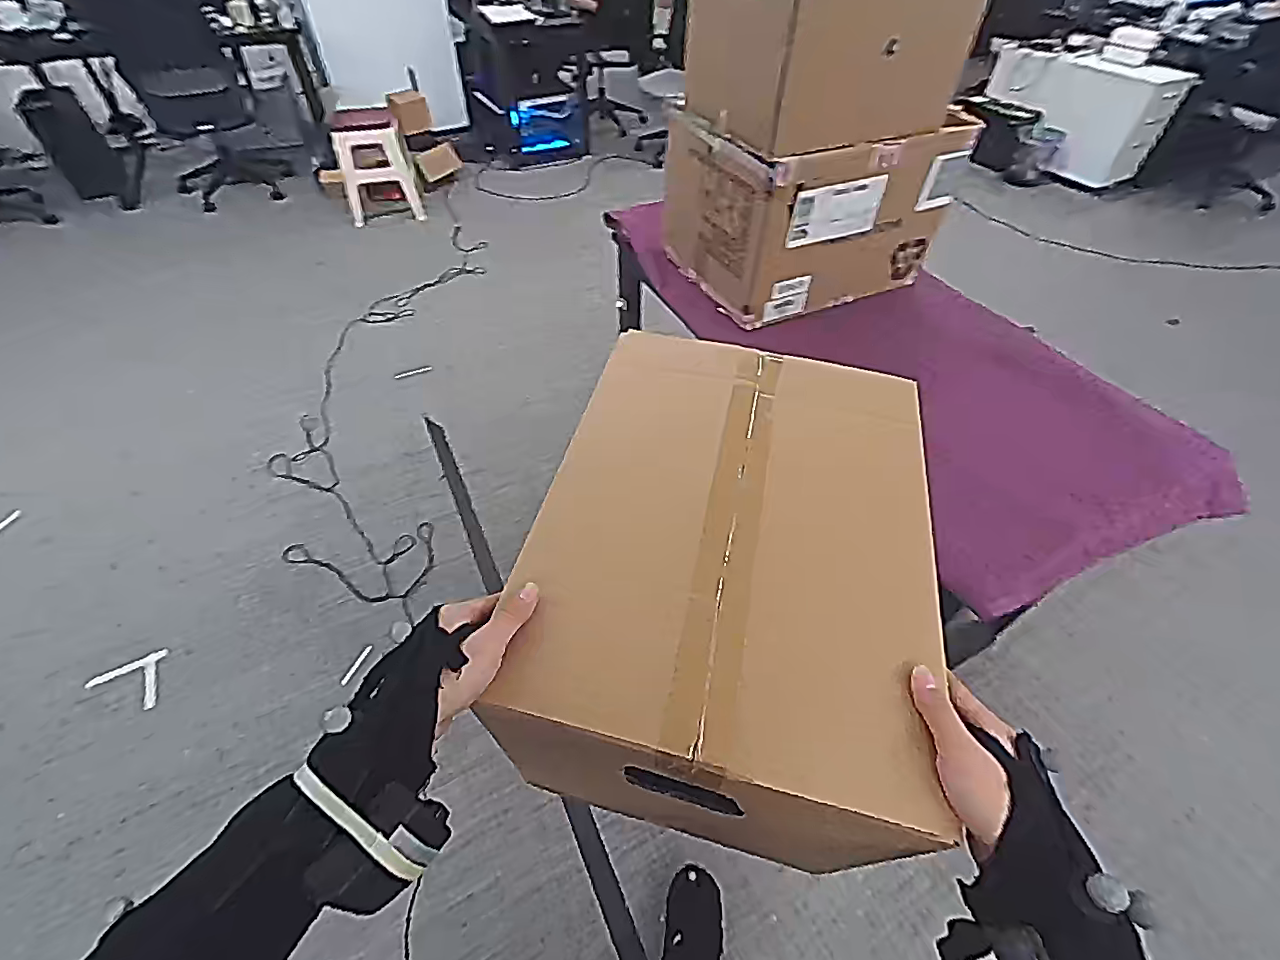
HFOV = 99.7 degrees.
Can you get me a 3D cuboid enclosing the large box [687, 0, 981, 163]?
[{"bbox_3d":[0.336,-0.811,0.965,0.408,0.320,0.320,-22,51,-18],"label":"large box"}]
